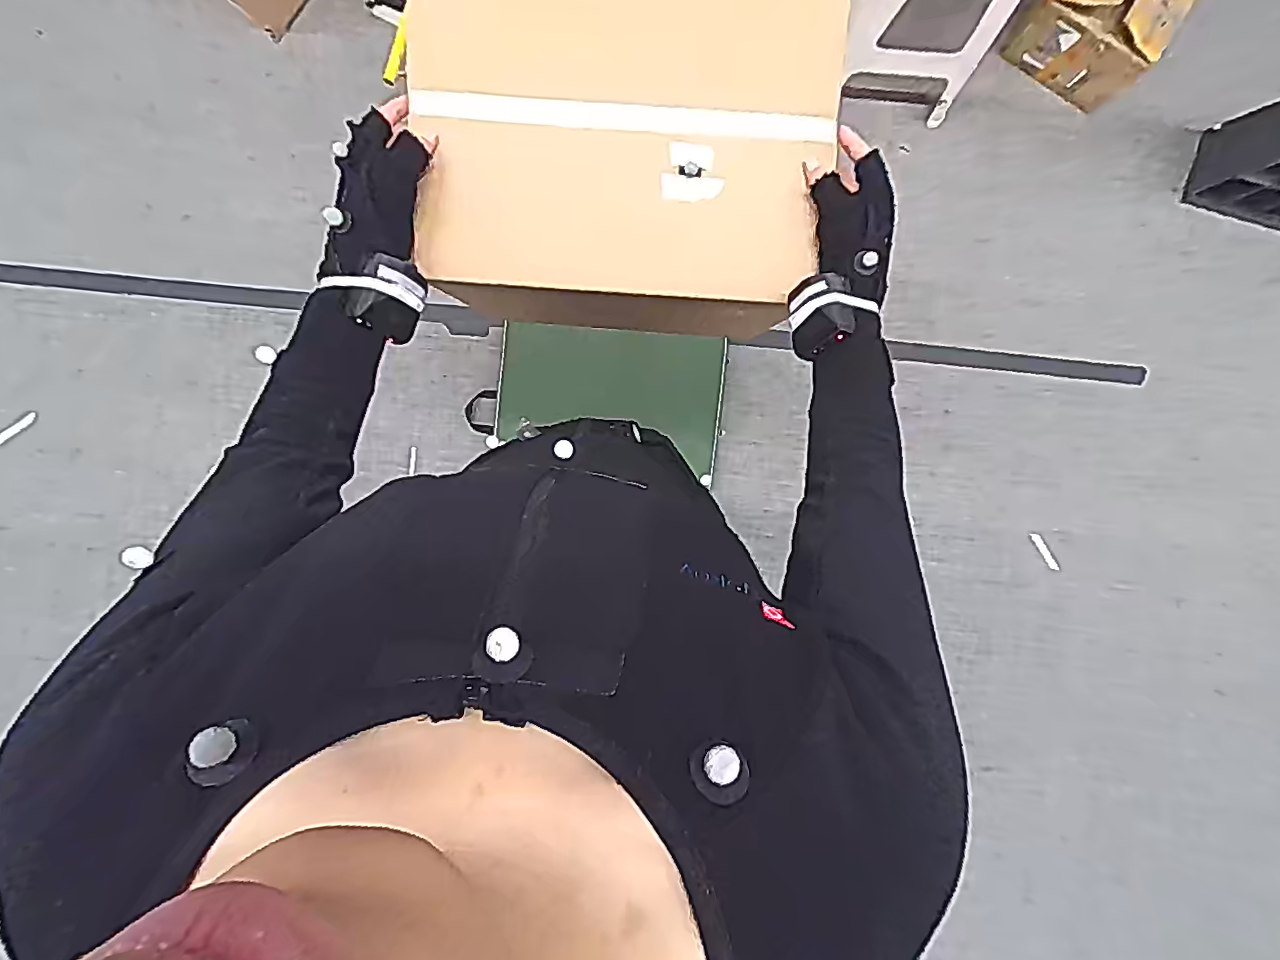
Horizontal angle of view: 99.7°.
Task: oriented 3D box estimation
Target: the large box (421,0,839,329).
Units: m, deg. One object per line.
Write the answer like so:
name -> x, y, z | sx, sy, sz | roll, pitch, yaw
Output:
large box -> -0.018, -0.372, 0.675 | 0.408, 0.320, 0.320 | 3, 99, -2
